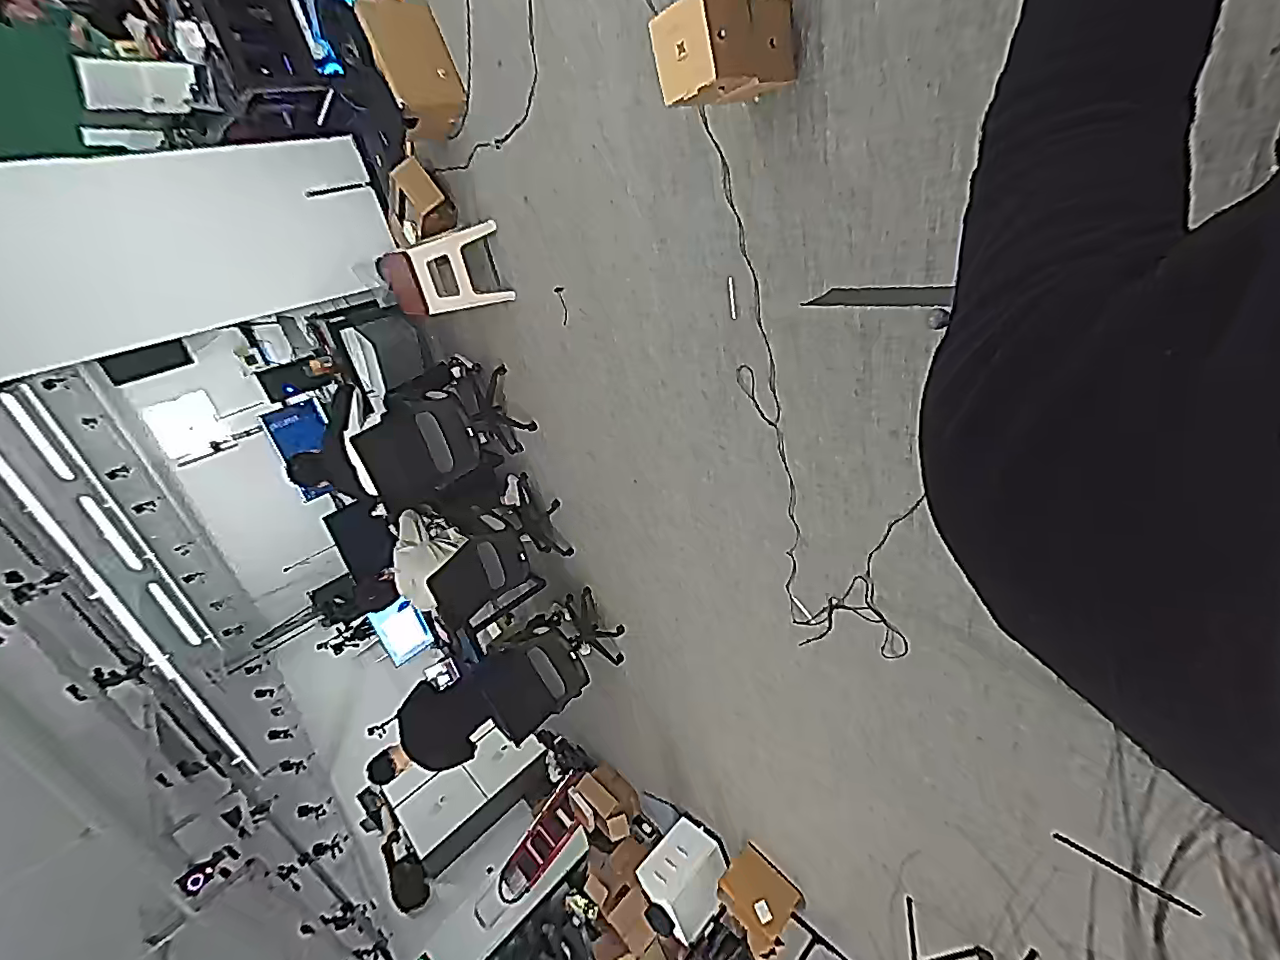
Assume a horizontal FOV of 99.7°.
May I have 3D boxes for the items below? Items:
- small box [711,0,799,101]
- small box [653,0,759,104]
[{"bbox_3d":[0.278,-1.082,1.358,0.168,0.176,0.179,15,128,47],"label":"small box"},{"bbox_3d":[0.160,-1.017,1.268,0.168,0.176,0.179,10,123,48],"label":"small box"}]
